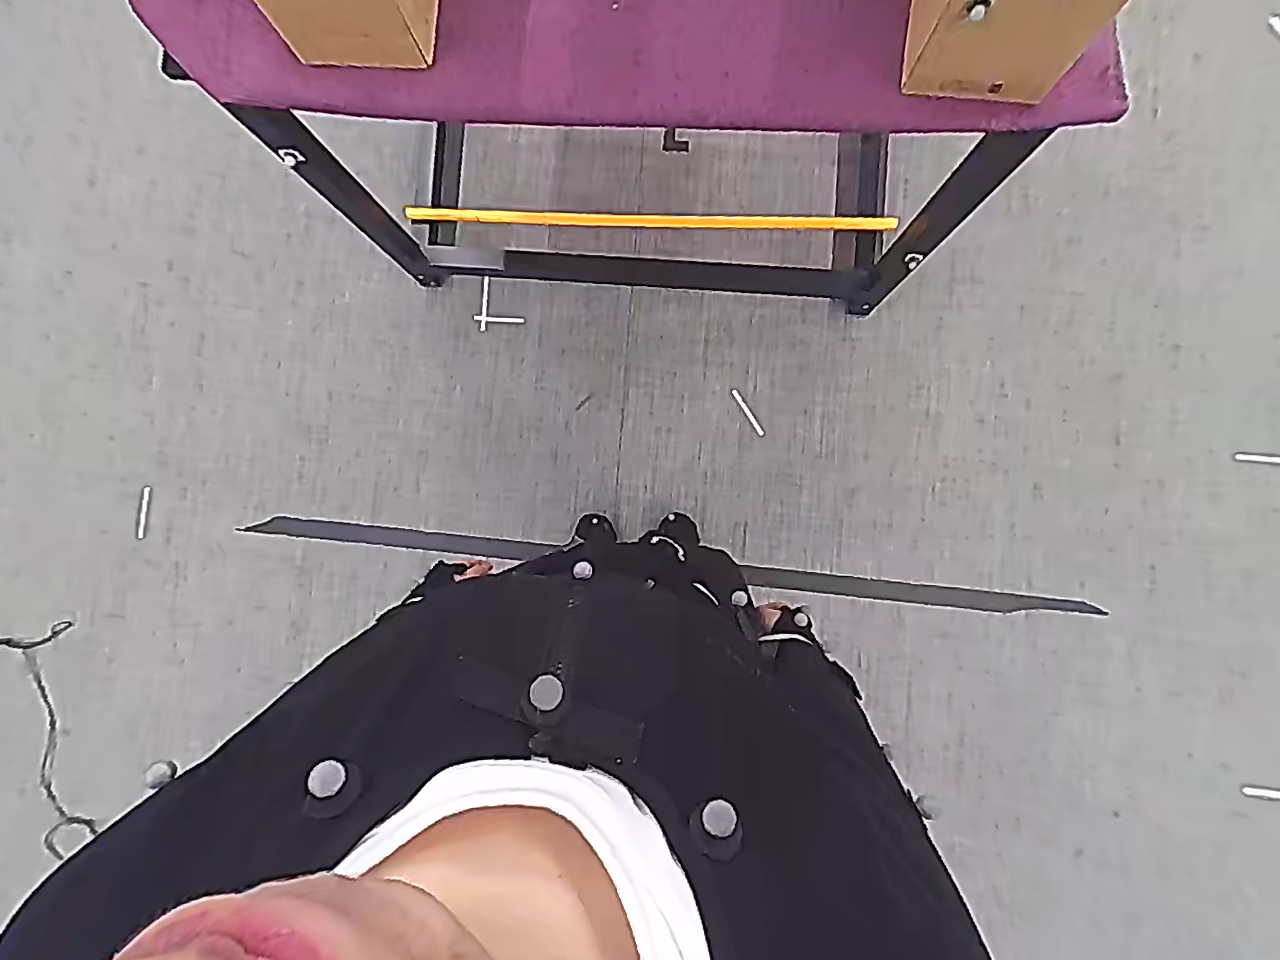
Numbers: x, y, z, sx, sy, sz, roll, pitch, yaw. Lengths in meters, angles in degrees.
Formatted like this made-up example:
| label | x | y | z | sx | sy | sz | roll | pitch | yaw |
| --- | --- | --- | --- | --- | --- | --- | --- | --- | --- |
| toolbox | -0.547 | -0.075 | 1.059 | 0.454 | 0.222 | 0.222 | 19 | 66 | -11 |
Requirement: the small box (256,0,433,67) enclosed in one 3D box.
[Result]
| label | x | y | z | sx | sy | sz | roll | pitch | yaw |
| --- | --- | --- | --- | --- | --- | --- | --- | --- | --- |
| small box | -0.364 | -0.630 | 0.636 | 0.179 | 0.176 | 0.168 | 3 | 86 | 2 |
